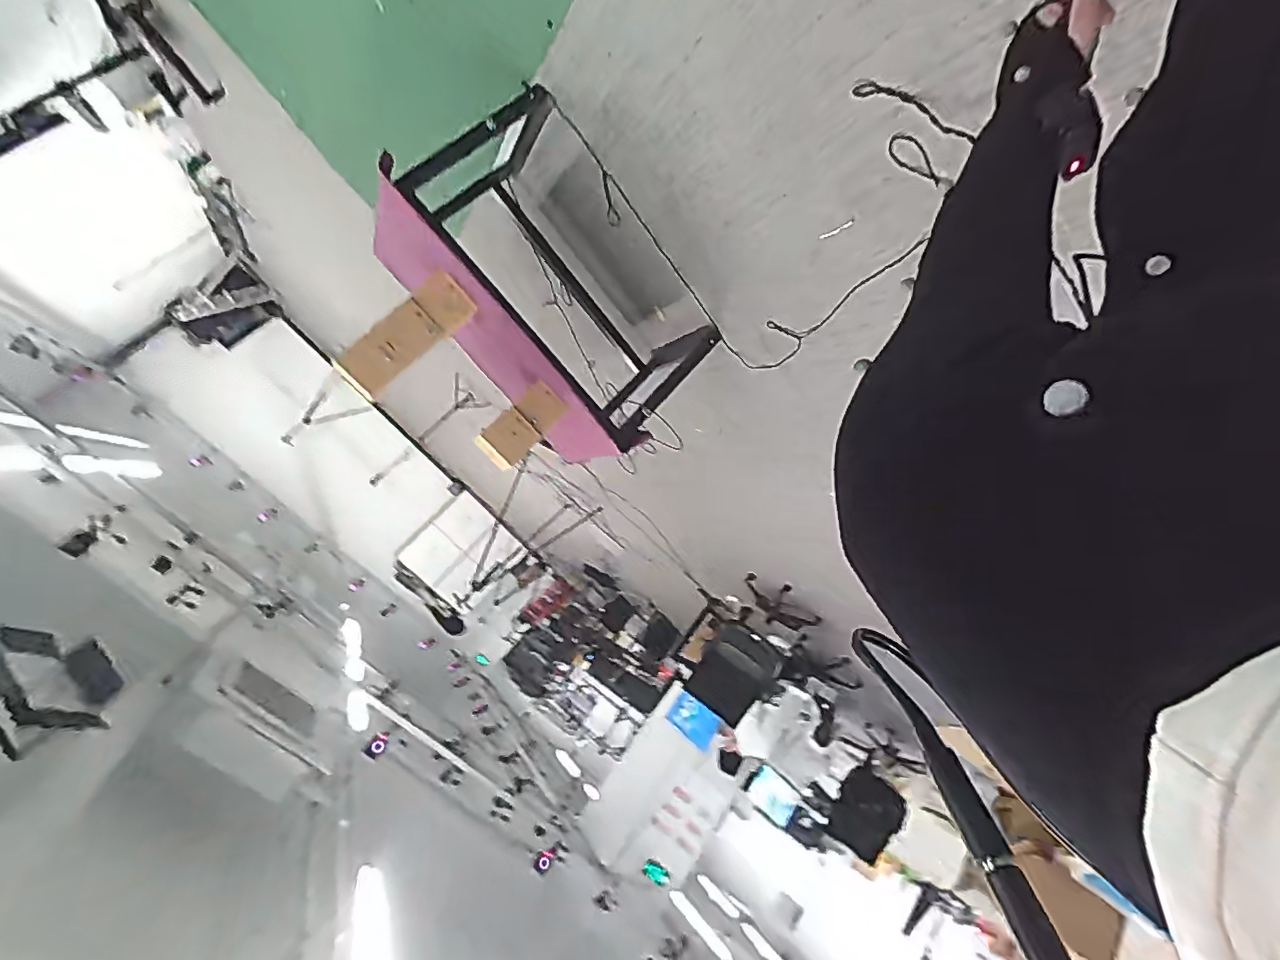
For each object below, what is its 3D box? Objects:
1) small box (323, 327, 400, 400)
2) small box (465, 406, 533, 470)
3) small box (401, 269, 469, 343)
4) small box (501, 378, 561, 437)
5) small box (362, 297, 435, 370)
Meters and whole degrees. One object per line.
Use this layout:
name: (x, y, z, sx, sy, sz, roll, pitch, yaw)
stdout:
small box: (-0.946, -0.395, 1.841, 0.168, 0.176, 0.179, 49, 159, -21)
small box: (-0.532, -0.159, 2.047, 0.168, 0.176, 0.179, 48, 158, -16)
small box: (-0.744, -0.628, 1.952, 0.168, 0.176, 0.179, 48, 160, -18)
small box: (-0.437, -0.274, 2.120, 0.168, 0.176, 0.179, 46, 159, -15)
small box: (-0.843, -0.512, 1.889, 0.168, 0.176, 0.179, 49, 160, -20)
